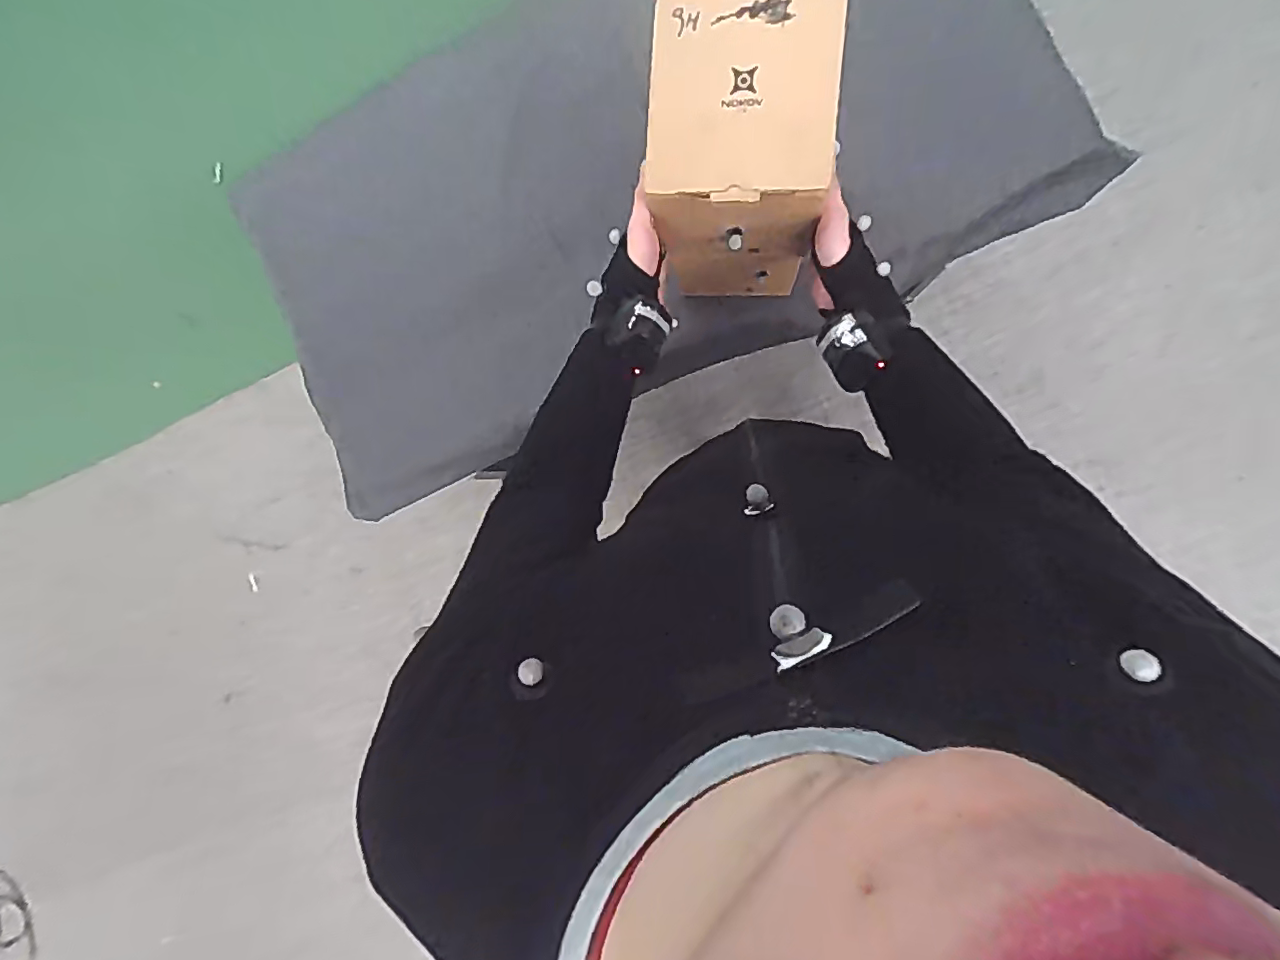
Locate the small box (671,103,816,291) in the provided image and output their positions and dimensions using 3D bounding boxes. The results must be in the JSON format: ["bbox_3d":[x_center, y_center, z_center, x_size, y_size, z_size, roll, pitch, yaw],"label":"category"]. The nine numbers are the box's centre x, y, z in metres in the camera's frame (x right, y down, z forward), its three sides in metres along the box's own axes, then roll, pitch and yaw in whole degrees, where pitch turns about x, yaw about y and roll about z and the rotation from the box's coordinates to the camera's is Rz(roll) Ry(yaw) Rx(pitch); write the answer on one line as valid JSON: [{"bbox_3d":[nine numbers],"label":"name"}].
[{"bbox_3d":[0.136,-0.366,0.733,0.168,0.176,0.179,3,90,8],"label":"small box"}]
